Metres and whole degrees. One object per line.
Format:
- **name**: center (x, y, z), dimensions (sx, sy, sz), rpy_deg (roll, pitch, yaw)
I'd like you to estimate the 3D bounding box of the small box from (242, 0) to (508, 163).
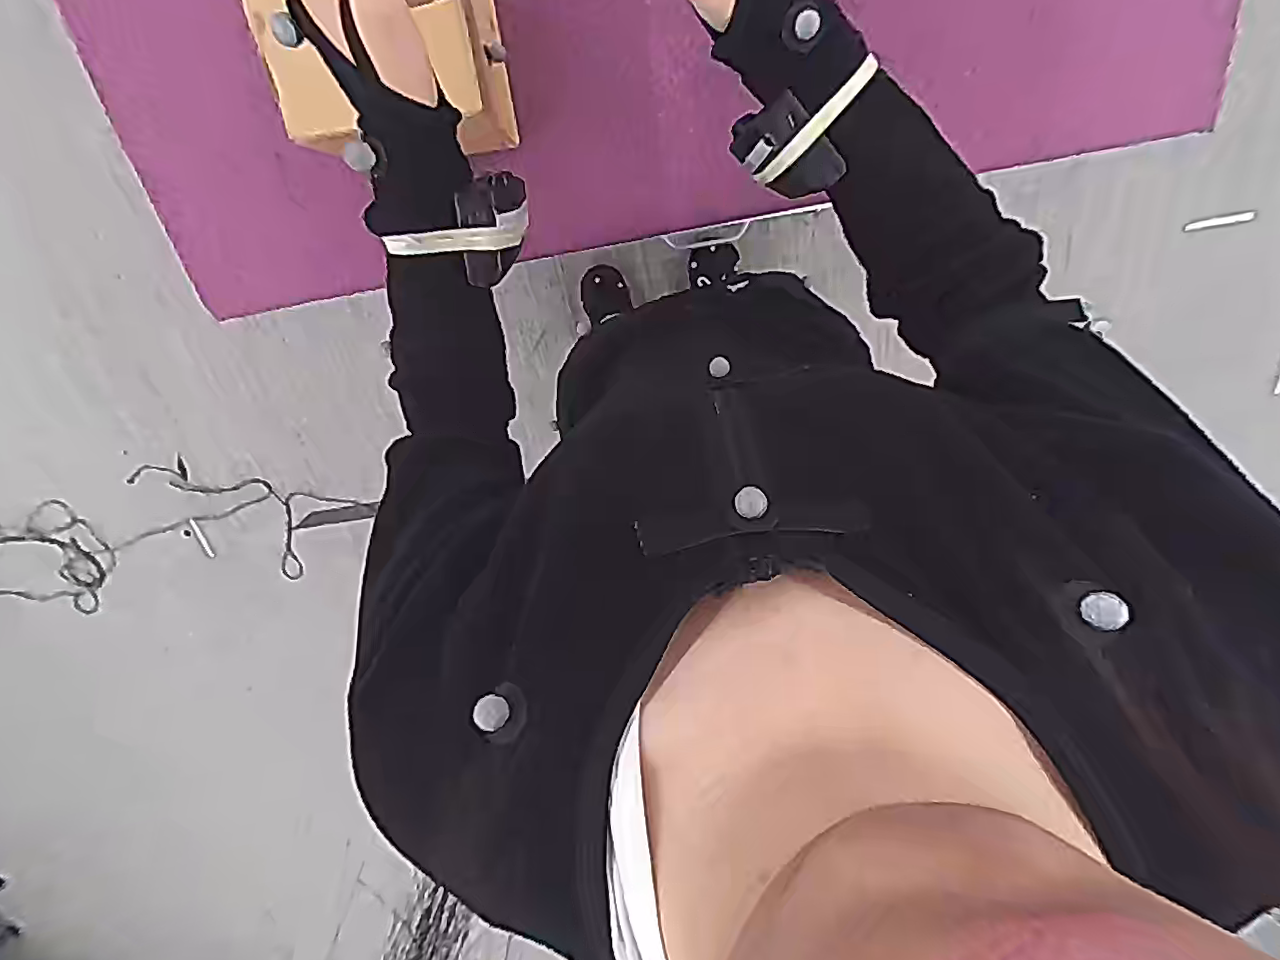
- **small box**: center (-0.233, -0.412, 0.511), dimensions (0.179, 0.176, 0.168), rpy_deg (-7, 113, 3)
